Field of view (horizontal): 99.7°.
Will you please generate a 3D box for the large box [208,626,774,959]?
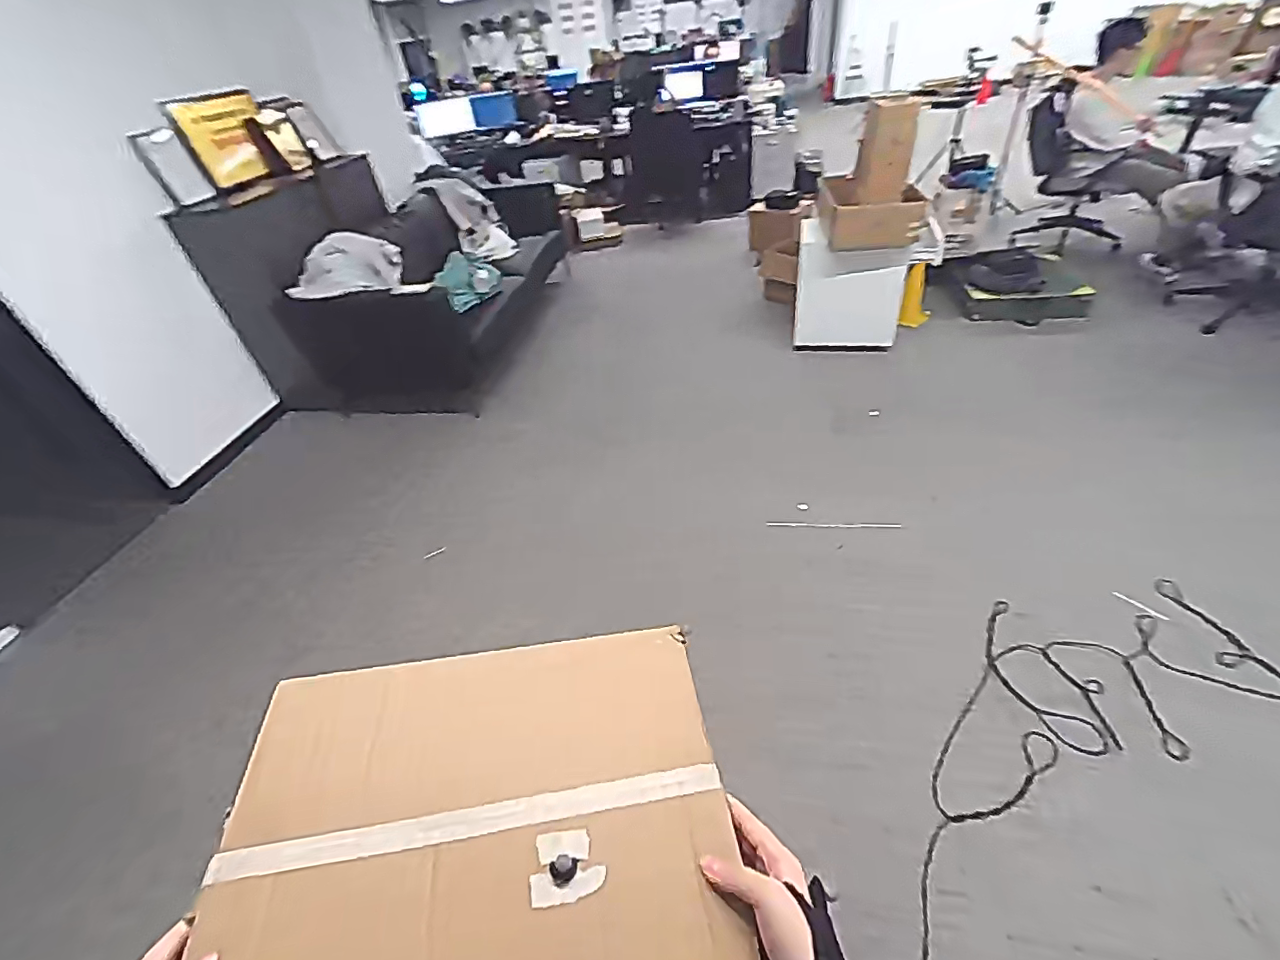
[{"bbox_3d":[-0.127,0.391,0.557,0.408,0.320,0.320,-4,42,-8],"label":"large box"}]
